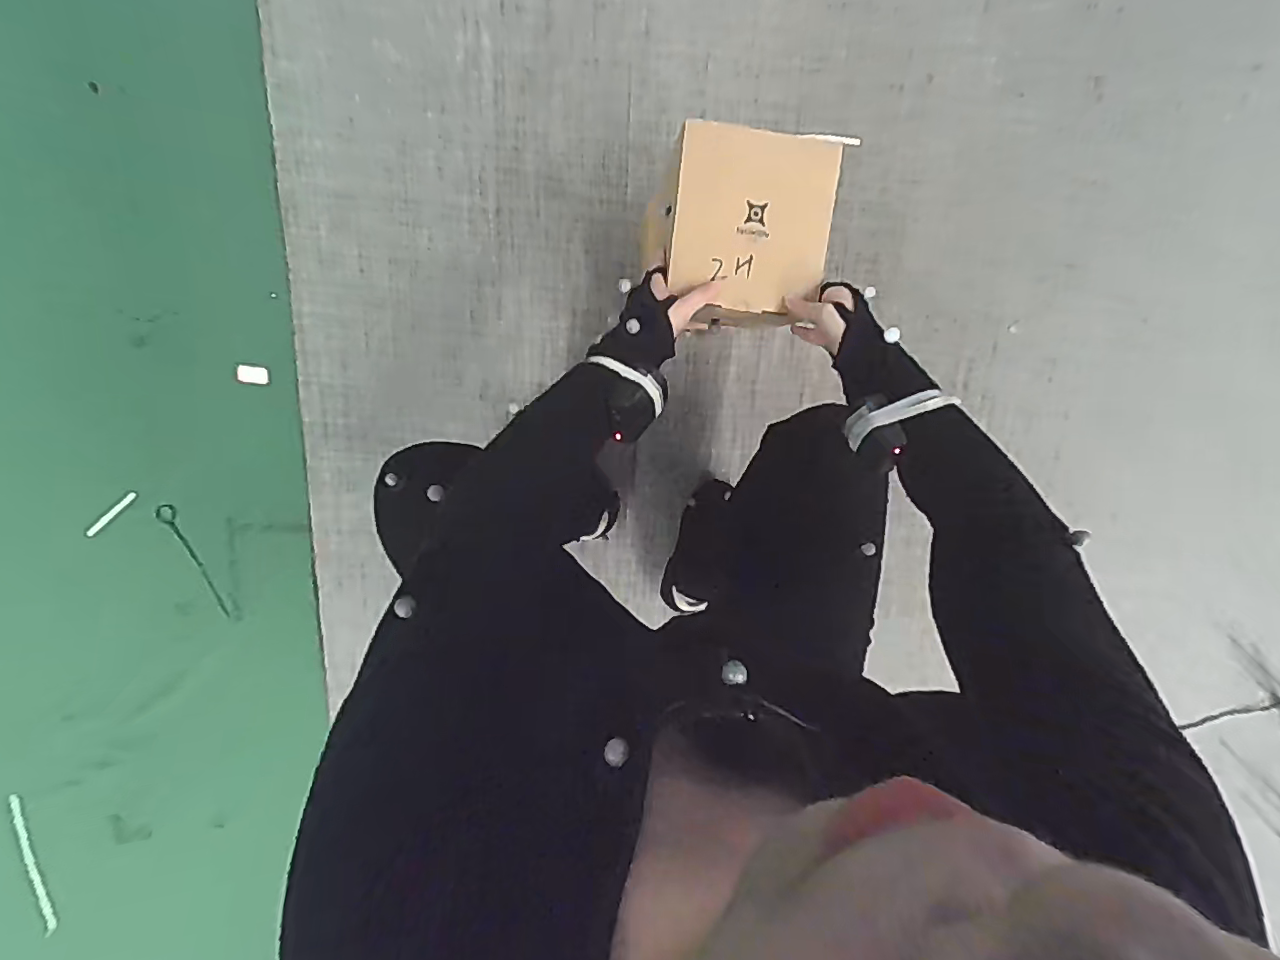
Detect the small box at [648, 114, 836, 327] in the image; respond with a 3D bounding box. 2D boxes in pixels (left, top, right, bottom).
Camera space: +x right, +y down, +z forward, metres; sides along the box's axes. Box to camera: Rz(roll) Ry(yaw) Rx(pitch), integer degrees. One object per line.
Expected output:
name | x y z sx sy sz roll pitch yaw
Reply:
small box | 0.106 -0.287 0.640 0.168 0.176 0.179 6 101 -6
